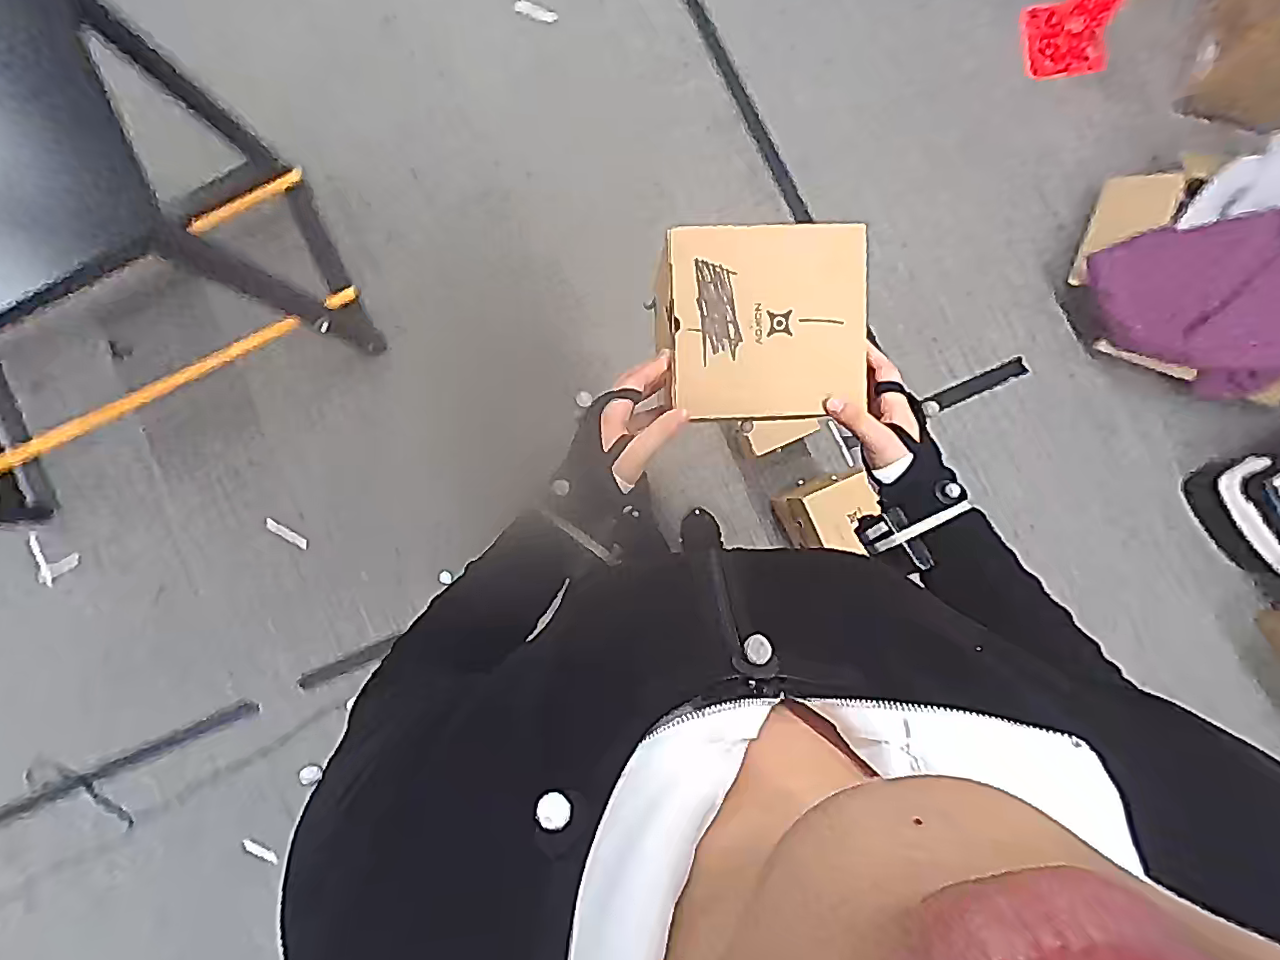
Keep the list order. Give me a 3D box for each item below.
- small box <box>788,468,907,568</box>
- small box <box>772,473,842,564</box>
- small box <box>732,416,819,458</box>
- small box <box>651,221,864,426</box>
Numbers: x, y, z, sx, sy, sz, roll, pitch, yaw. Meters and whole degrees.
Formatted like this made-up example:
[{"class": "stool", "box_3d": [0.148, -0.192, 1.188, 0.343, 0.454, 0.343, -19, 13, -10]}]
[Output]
[{"class": "small box", "box_3d": [0.462, 0.081, 1.232, 0.179, 0.176, 0.168, -24, 87, 4]}, {"class": "small box", "box_3d": [0.462, 0.093, 1.394, 0.168, 0.176, 0.179, -26, 88, 2]}, {"class": "small box", "box_3d": [0.335, -0.163, 1.407, 0.179, 0.176, 0.168, -23, 87, 3]}, {"class": "small box", "box_3d": [0.103, -0.142, 0.544, 0.179, 0.176, 0.168, -4, 95, -3]}]
